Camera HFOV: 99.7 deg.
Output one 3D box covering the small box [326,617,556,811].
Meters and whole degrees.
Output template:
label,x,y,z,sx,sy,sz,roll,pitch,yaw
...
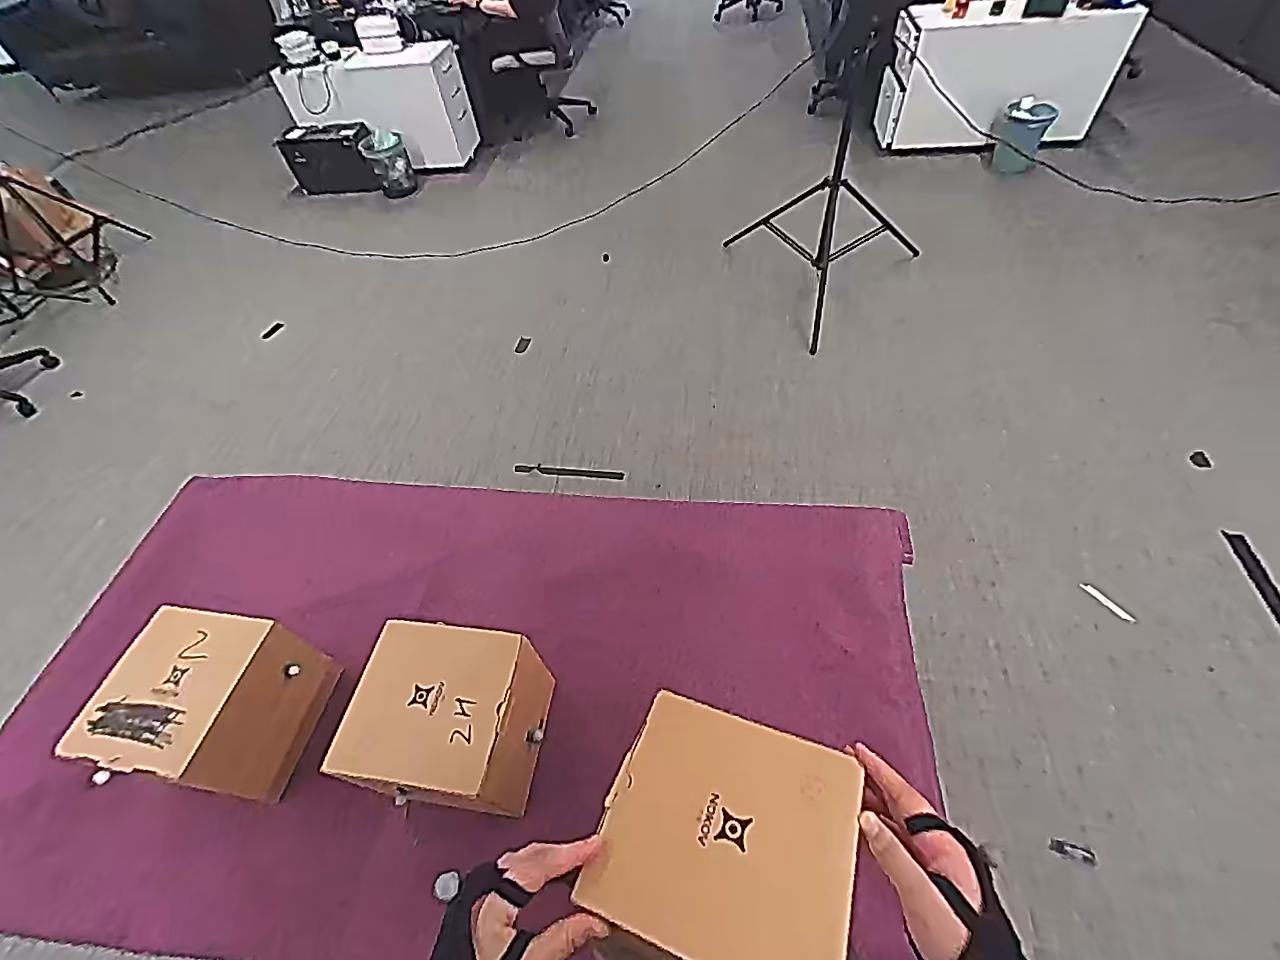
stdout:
label,x,y,z,sx,sy,sz,roll,pitch,yaw
small box,-0.217,0.282,0.646,0.179,0.176,0.168,4,53,9
